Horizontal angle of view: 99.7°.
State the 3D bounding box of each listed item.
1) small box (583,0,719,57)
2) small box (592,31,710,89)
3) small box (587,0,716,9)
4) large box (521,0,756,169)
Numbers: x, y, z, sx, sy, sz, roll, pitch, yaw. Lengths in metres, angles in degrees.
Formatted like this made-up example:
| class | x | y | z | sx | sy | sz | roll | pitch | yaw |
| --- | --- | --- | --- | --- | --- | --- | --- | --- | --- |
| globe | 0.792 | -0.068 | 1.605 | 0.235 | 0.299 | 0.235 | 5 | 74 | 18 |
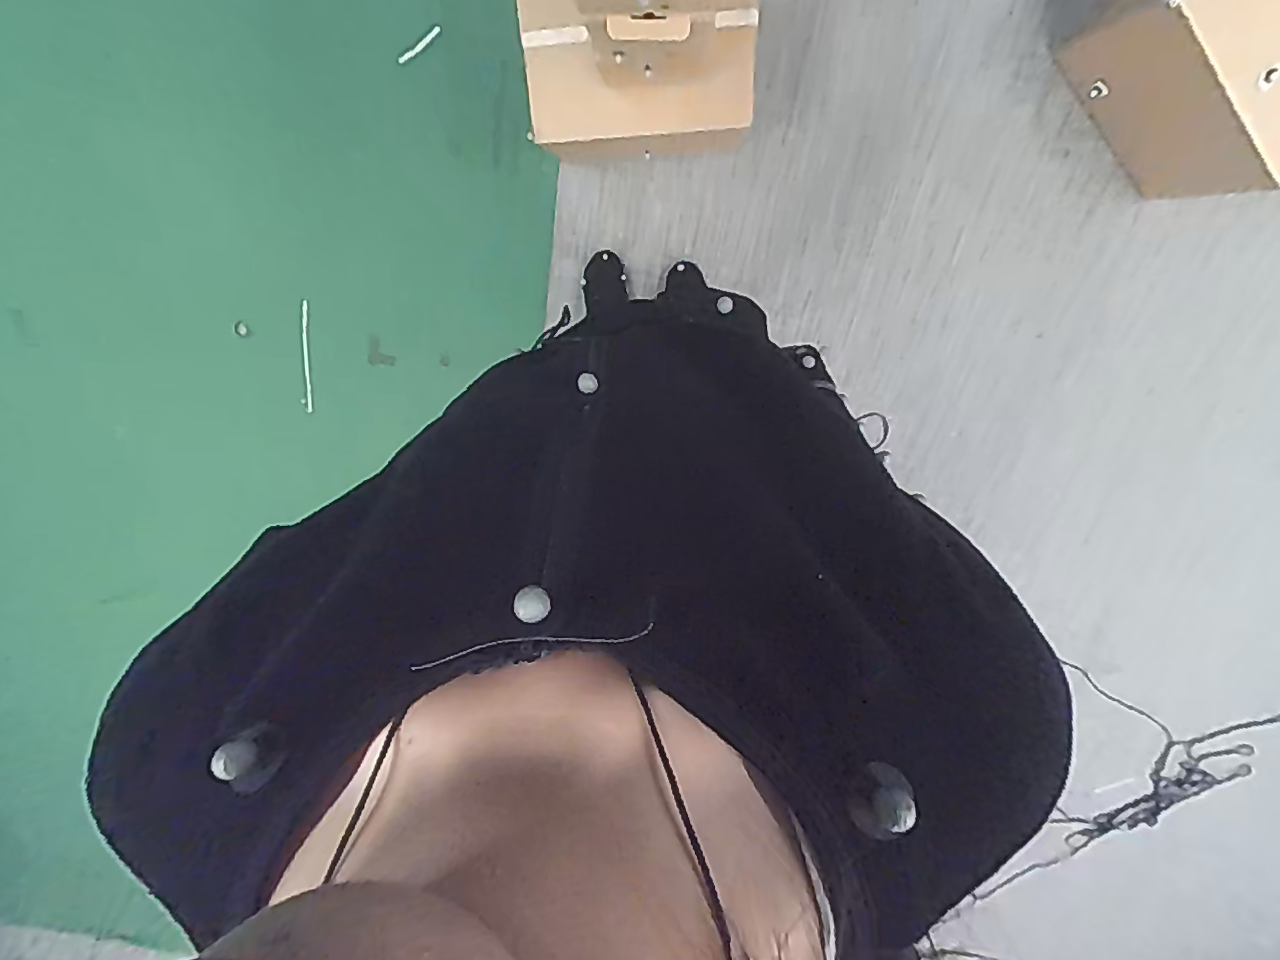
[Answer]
| class | x | y | z | sx | sy | sz | roll | pitch | yaw |
| --- | --- | --- | --- | --- | --- | --- | --- | --- | --- |
| small box | 0.021 | -0.664 | 0.687 | 0.168 | 0.176 | 0.179 | 3 | 115 | 3 |
| small box | 0.023 | -0.726 | 0.839 | 0.179 | 0.176 | 0.168 | 1 | 115 | 4 |
| small box | 0.006 | -0.600 | 0.536 | 0.168 | 0.176 | 0.179 | 1 | 116 | 3 |
| large box | 0.013 | -0.822 | 1.066 | 0.408 | 0.320 | 0.320 | -1 | 112 | 6 |
